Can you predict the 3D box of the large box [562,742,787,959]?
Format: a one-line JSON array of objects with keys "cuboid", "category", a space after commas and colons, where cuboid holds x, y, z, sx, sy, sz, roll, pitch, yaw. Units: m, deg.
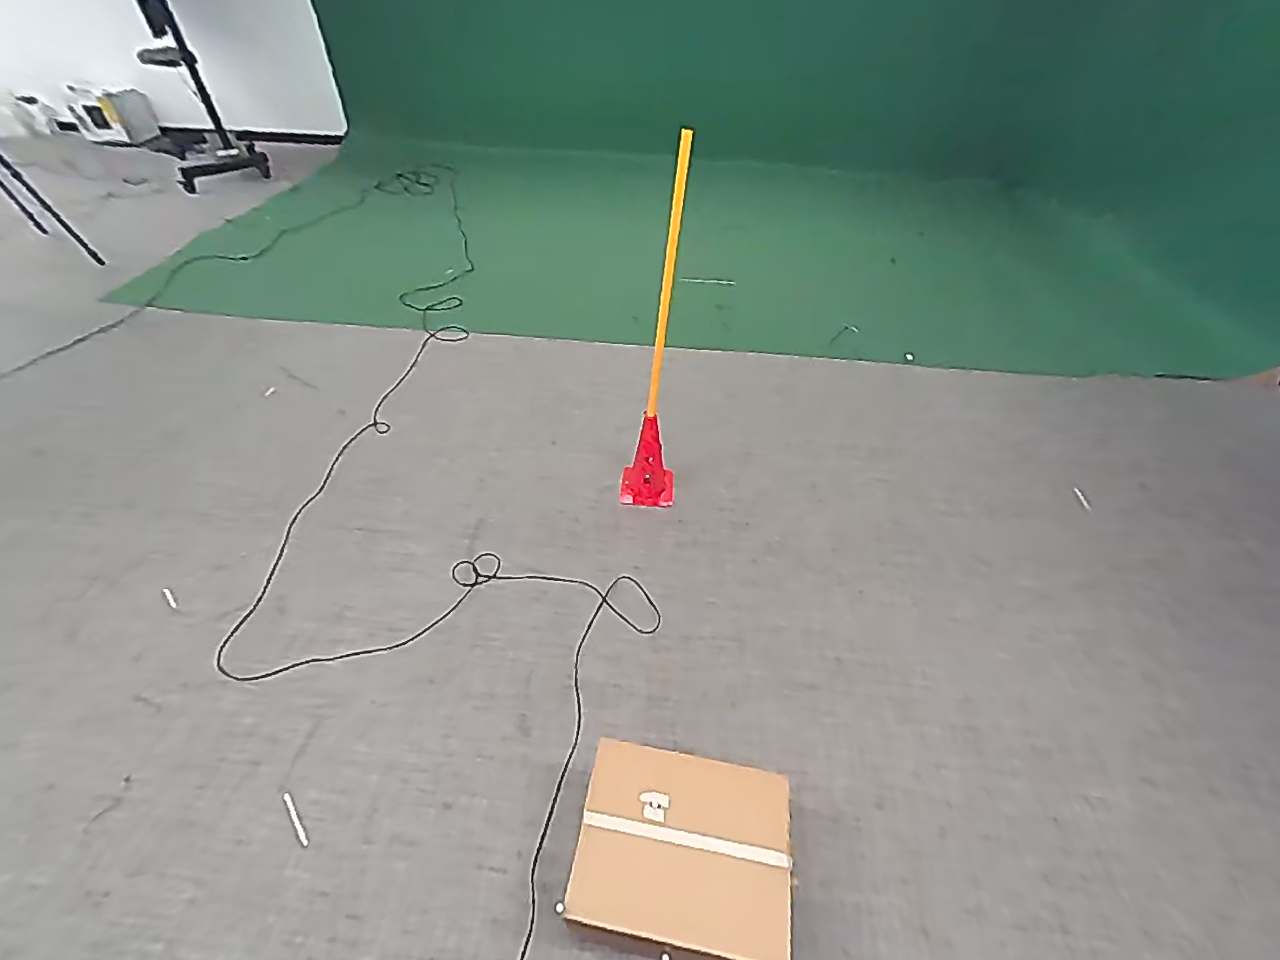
[{"cuboid": [0.080, 0.803, 1.151, 0.408, 0.320, 0.320, 9, 45, 7], "category": "large box"}]
